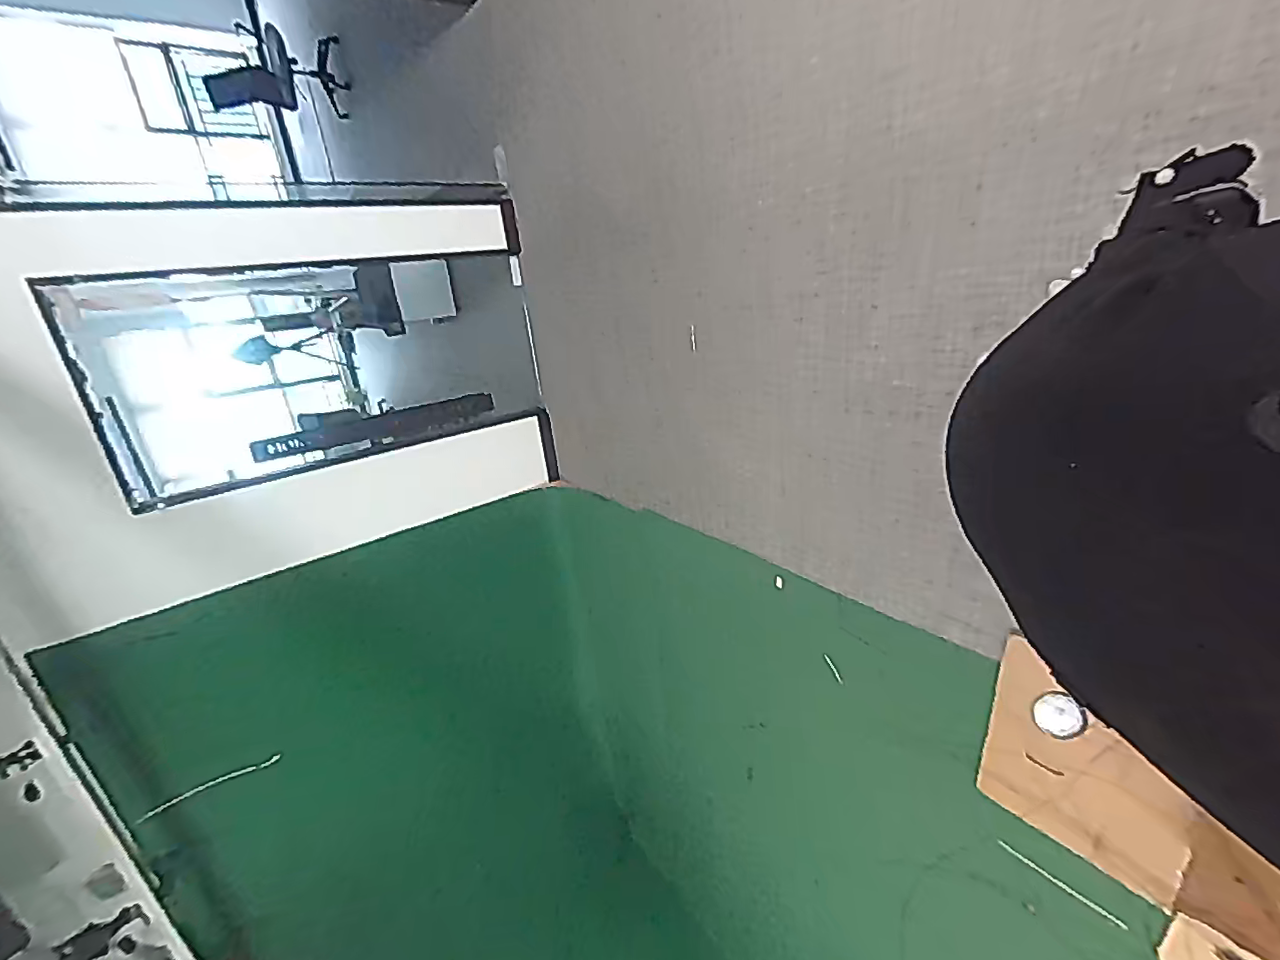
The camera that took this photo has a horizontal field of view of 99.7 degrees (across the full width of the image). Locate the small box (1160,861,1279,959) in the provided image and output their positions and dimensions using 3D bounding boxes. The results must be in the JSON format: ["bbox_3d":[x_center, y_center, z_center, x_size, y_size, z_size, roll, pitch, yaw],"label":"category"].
[{"bbox_3d":[1.151,0.897,1.042,0.168,0.176,0.179,23,125,49],"label":"small box"}]

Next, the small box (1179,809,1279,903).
[{"bbox_3d":[1.280,0.849,1.132,0.168,0.176,0.179,20,122,49],"label":"small box"}]
